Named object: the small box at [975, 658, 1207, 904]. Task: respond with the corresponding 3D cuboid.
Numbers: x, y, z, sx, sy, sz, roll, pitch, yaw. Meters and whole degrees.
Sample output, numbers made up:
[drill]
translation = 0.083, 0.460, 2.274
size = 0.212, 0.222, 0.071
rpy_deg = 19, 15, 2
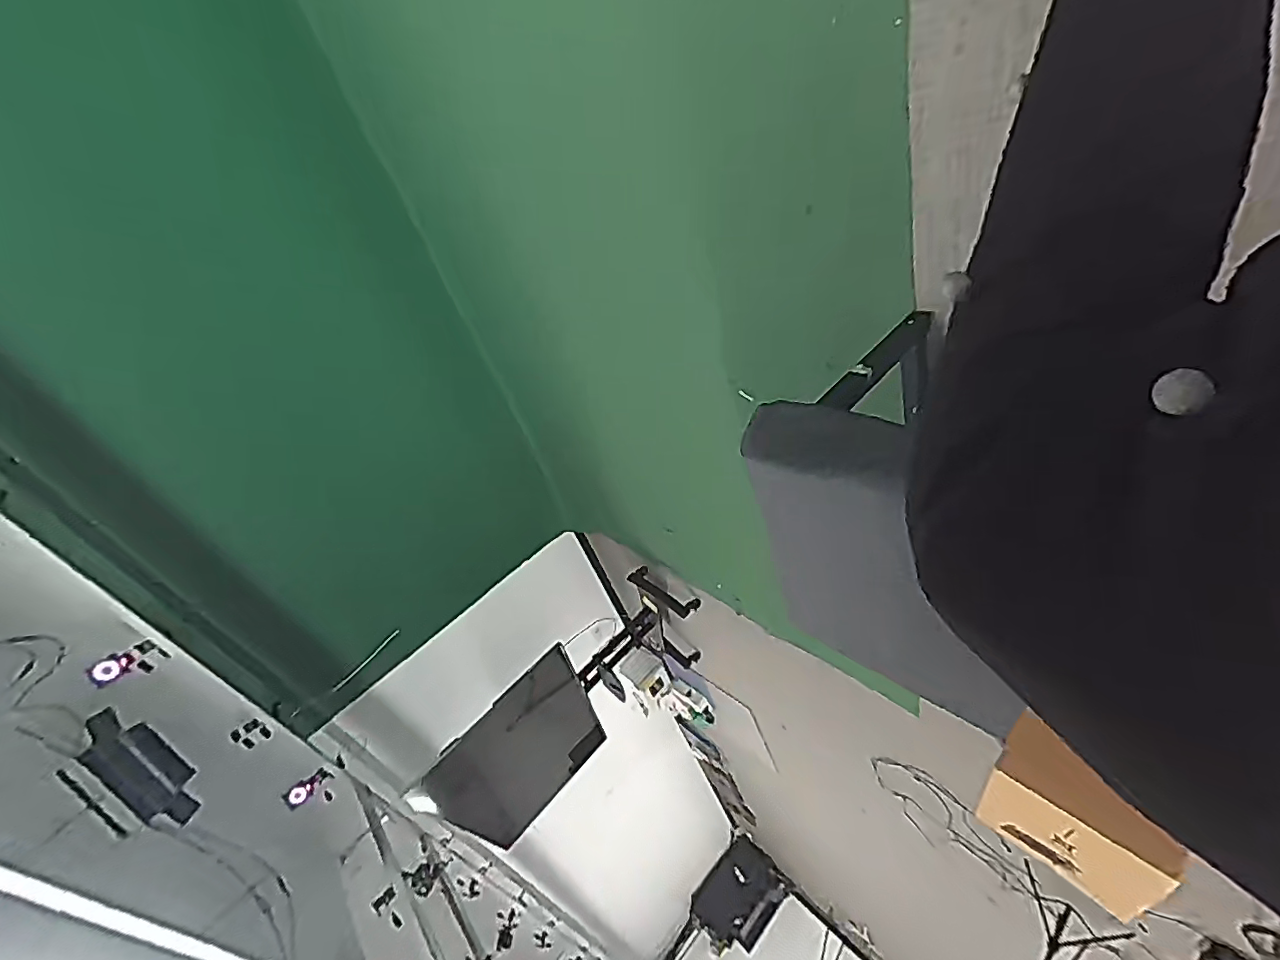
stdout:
[small box]
translation = 0.542, 0.360, 0.663
size = 0.168, 0.176, 0.179
rpy_deg = 26, 150, 45
